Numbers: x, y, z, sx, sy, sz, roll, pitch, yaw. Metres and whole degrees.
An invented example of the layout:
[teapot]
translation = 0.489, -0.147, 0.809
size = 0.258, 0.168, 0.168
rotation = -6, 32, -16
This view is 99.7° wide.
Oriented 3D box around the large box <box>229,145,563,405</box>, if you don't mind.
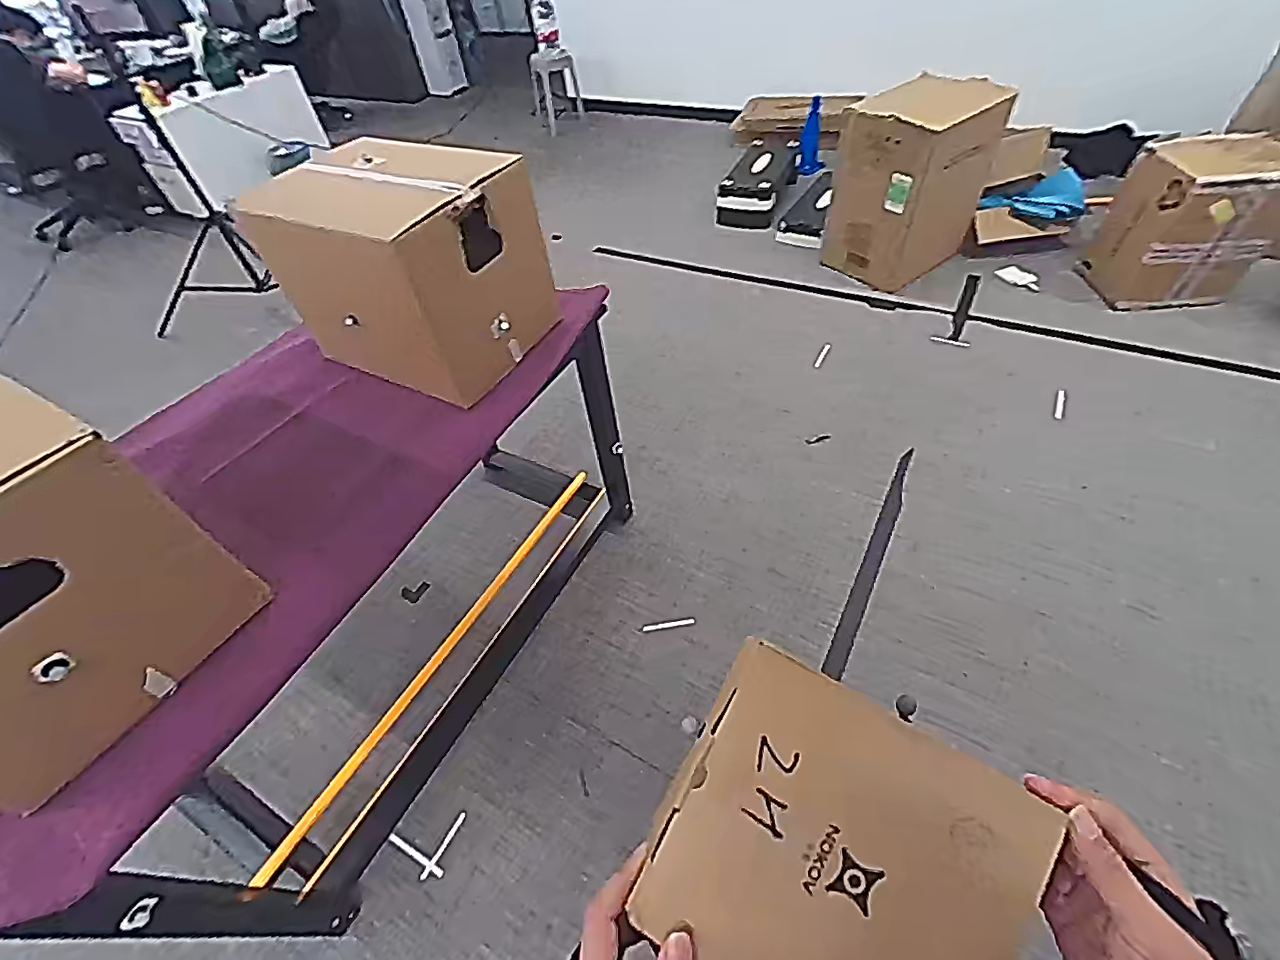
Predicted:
[large box]
translation = -0.412, -0.385, 1.000
size = 0.408, 0.320, 0.320
rotation = 19, 54, 23
